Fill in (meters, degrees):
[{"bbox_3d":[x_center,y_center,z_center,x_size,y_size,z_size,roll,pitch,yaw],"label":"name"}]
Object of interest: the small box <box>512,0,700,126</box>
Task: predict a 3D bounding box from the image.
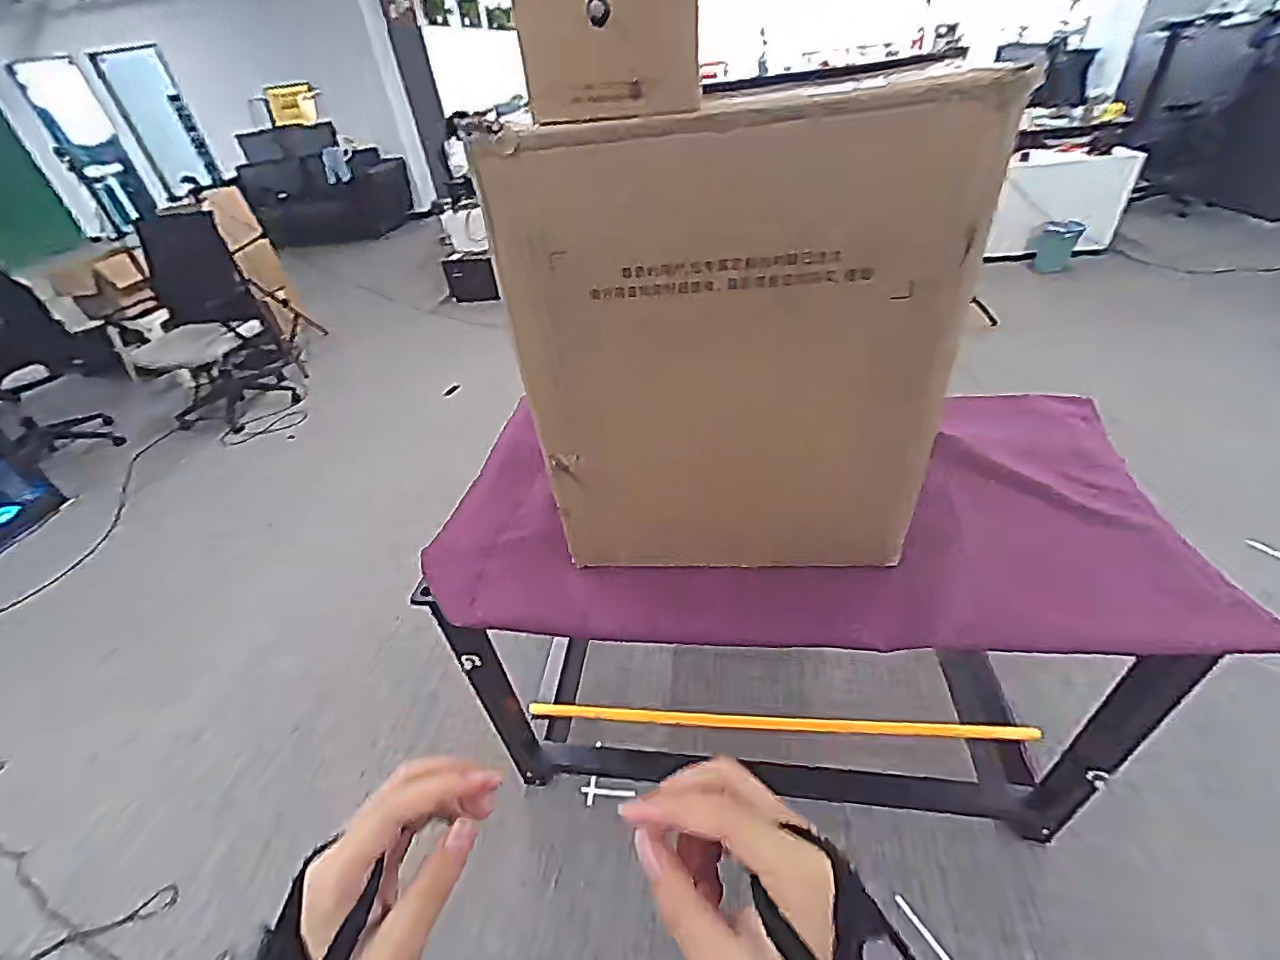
[{"bbox_3d":[-0.024,-0.460,0.537,0.168,0.176,0.179,-1,39,6],"label":"small box"}]
